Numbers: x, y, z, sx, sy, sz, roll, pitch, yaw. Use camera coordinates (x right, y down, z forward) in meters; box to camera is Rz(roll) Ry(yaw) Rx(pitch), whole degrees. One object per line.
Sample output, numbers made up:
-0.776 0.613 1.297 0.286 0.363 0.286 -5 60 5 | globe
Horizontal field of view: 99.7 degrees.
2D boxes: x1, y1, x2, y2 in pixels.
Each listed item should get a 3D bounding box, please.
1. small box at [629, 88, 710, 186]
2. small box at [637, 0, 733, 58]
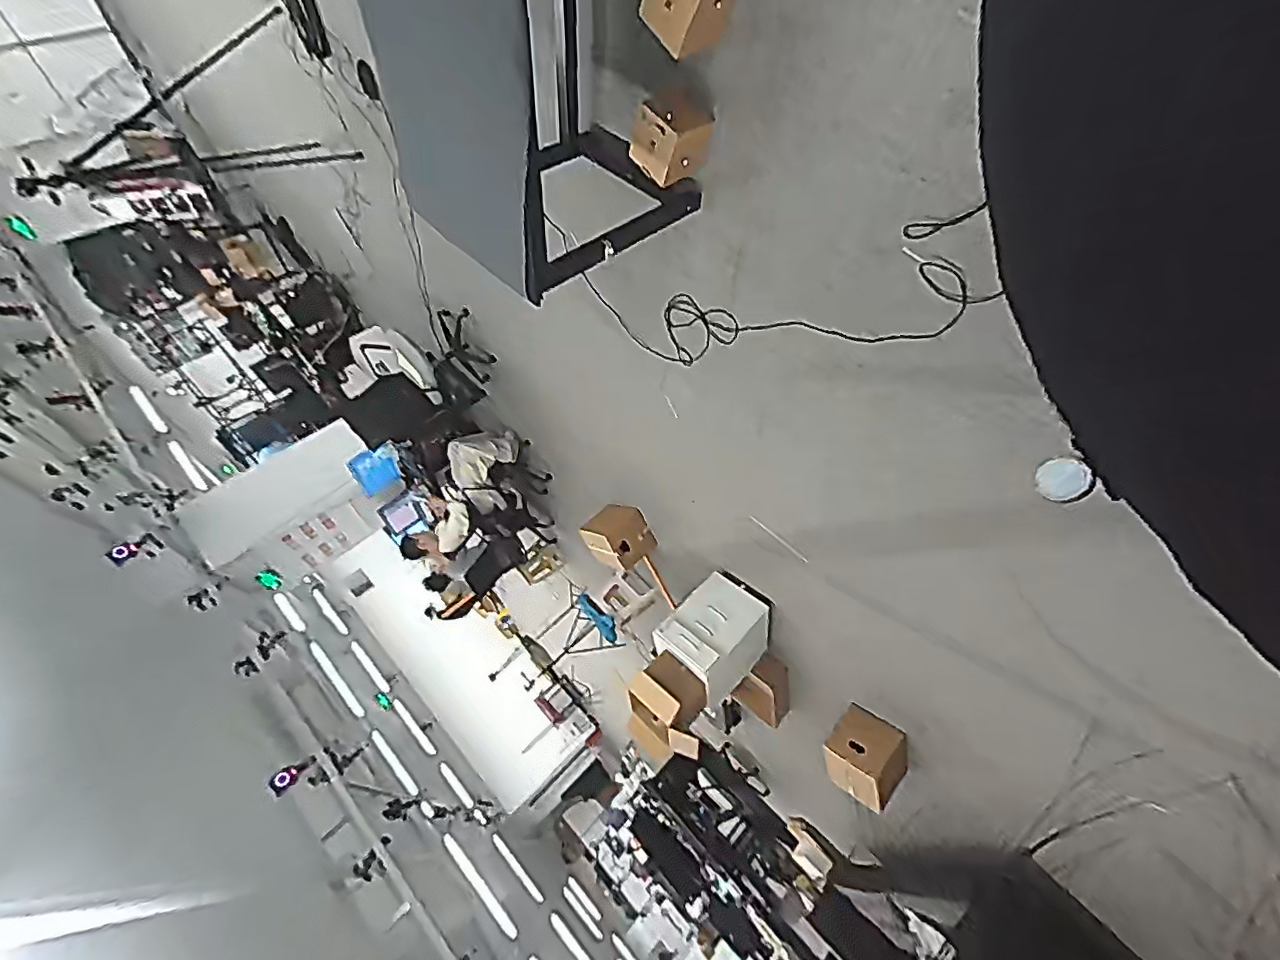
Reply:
0.091 -1.068 1.682 0.168 0.176 0.179 46 155 9 | small box
0.126 -1.247 1.386 0.168 0.176 0.179 50 156 2 | small box
